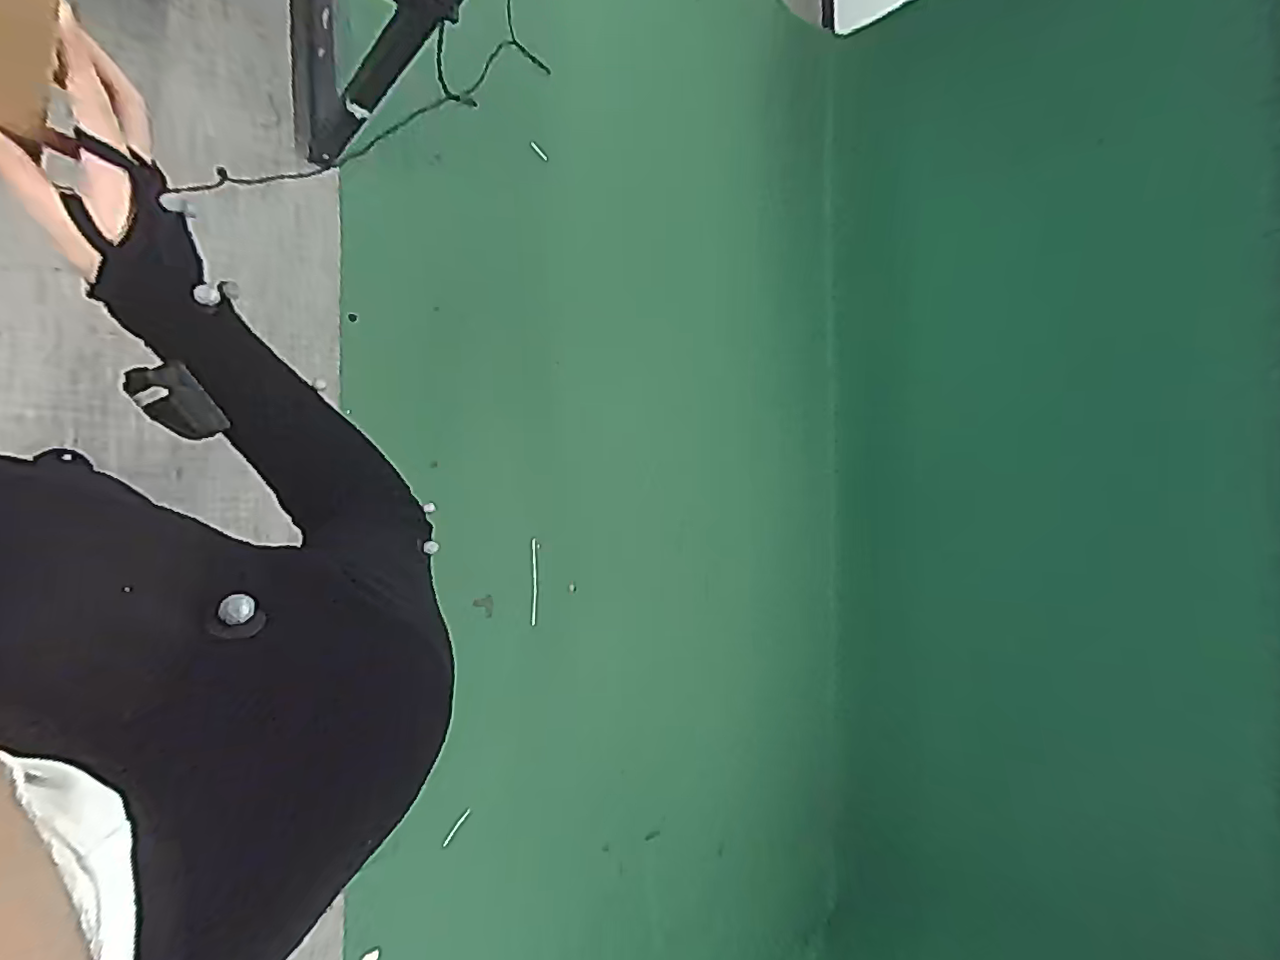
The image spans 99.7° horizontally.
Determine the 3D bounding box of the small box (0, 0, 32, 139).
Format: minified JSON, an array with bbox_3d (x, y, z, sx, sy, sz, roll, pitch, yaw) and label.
[{"bbox_3d":[-0.413,-0.313,0.256,0.168,0.176,0.179,-1,80,-51],"label":"small box"}]
